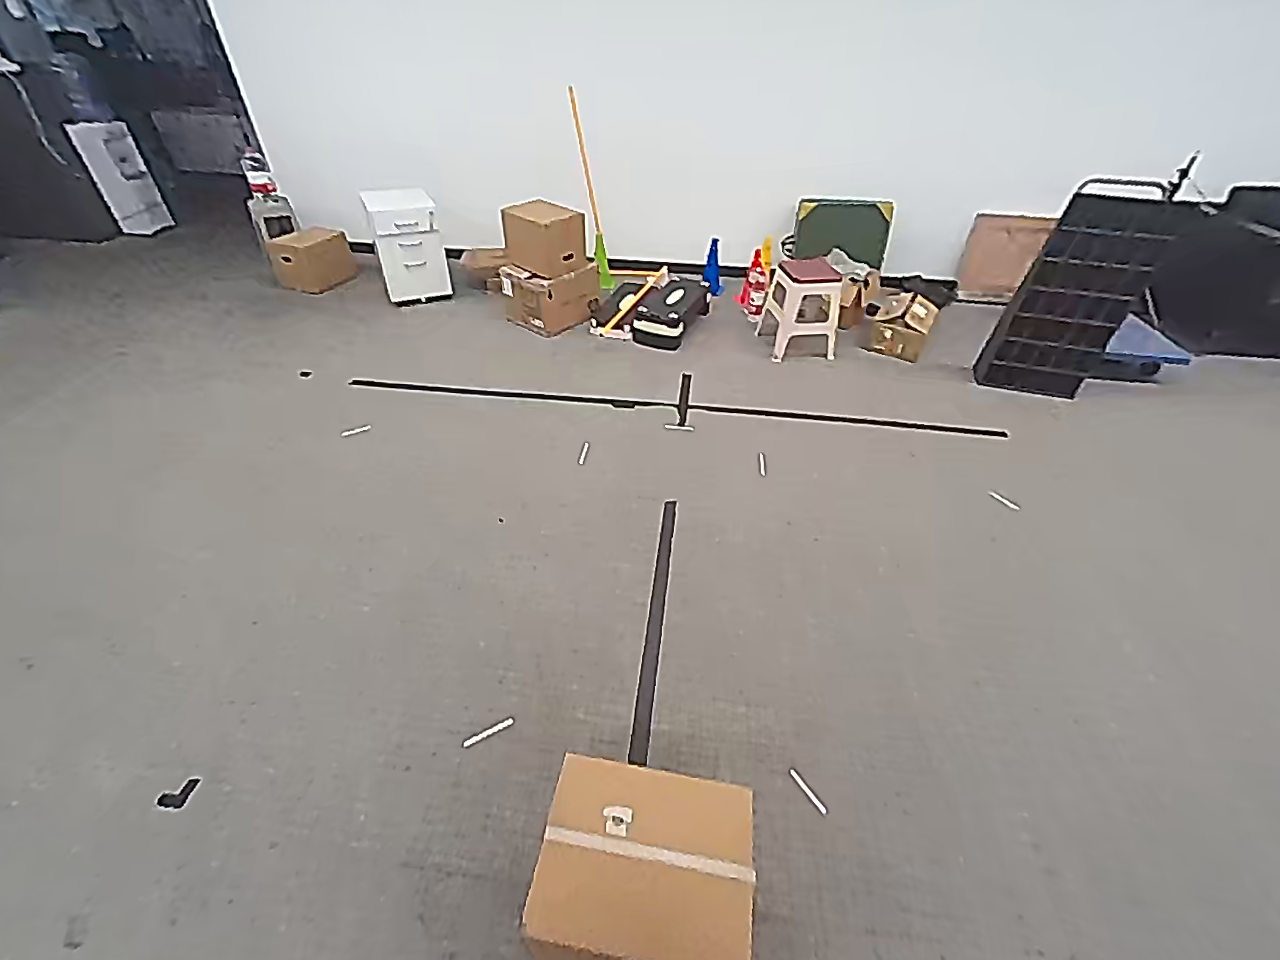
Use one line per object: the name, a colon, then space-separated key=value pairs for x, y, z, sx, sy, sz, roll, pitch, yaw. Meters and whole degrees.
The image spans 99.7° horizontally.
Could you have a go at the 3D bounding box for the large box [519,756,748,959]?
large box: x=0.006 y=0.829 z=1.132 sx=0.408 sy=0.320 sz=0.320 roll=7 pitch=40 yaw=7
